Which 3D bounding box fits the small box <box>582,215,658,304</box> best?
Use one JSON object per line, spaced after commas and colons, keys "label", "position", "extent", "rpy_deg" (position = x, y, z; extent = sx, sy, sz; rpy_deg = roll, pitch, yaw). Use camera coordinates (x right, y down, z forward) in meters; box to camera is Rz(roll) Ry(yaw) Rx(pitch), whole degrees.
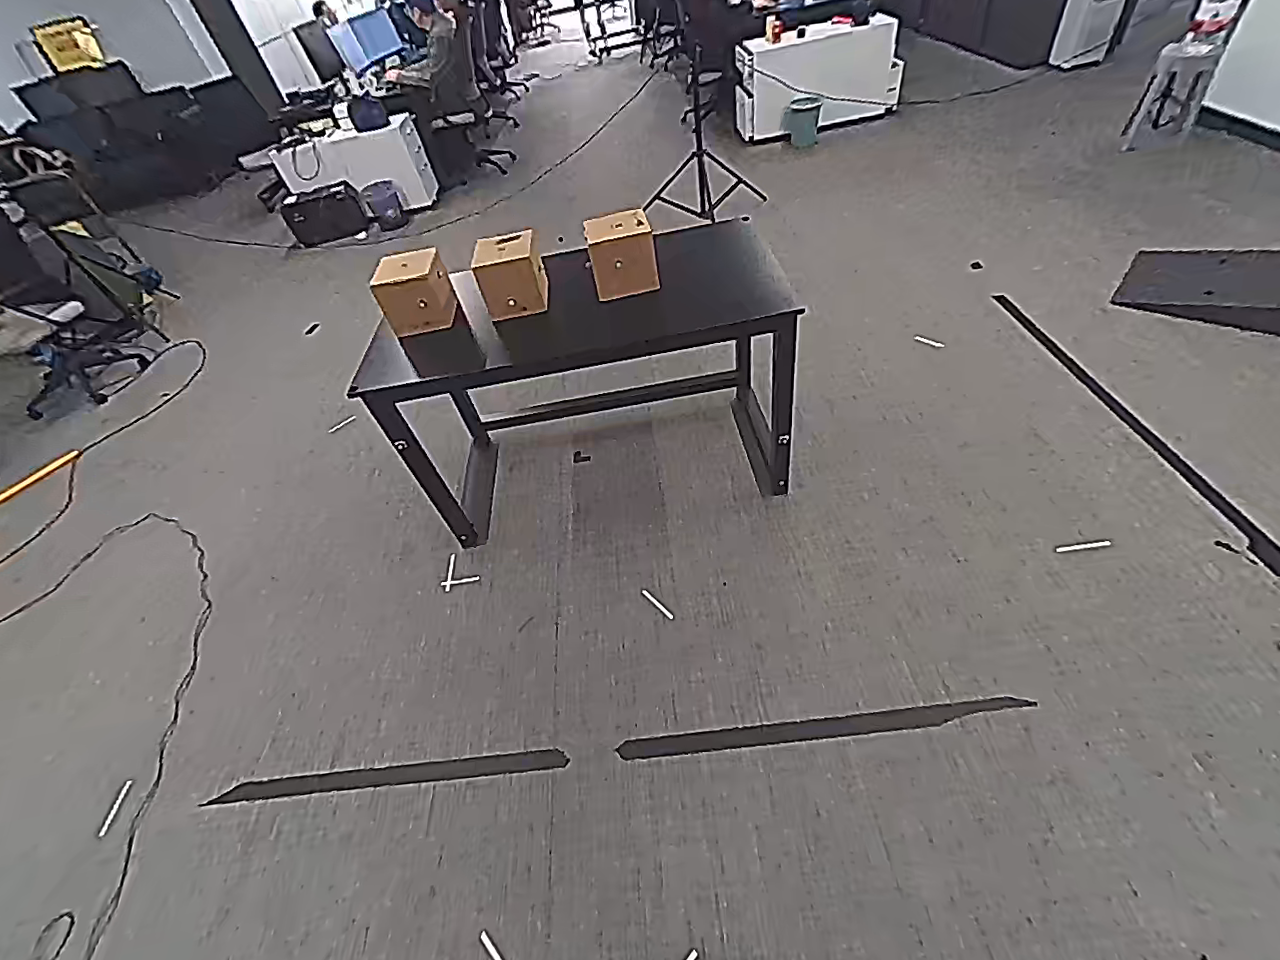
{"label": "small box", "position": [-0.057, -0.624, 1.543], "extent": [0.179, 0.176, 0.168], "rpy_deg": [-13, 47, 1]}

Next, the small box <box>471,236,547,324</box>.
{"label": "small box", "position": [-0.371, -0.576, 1.564], "extent": [0.168, 0.176, 0.179], "rpy_deg": [-10, 47, 3]}

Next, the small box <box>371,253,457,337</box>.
{"label": "small box", "position": [-0.654, -0.535, 1.586], "extent": [0.168, 0.176, 0.179], "rpy_deg": [-10, 46, 1]}
